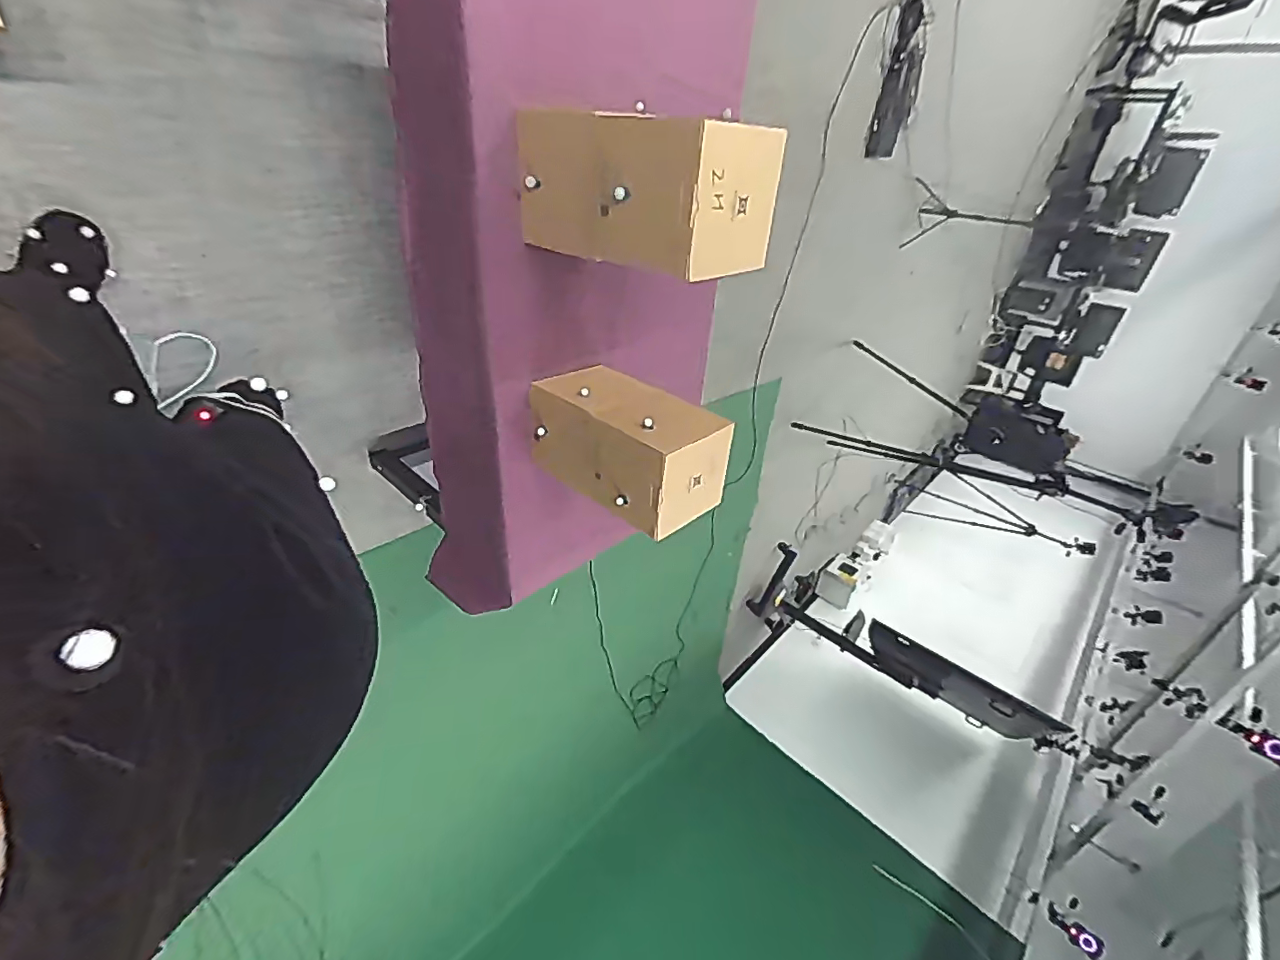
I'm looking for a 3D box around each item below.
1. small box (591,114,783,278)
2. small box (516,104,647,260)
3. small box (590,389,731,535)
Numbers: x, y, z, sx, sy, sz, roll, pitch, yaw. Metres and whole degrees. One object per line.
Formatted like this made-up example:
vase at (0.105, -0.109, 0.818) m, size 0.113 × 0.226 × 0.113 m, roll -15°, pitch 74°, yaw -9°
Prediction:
small box at (0.057, -0.376, 0.712) m, size 0.179 × 0.176 × 0.168 m, roll -27°, pitch 134°, yaw -39°
small box at (-0.066, -0.443, 0.800) m, size 0.168 × 0.176 × 0.179 m, roll -29°, pitch 136°, yaw -39°
small box at (0.029, -0.039, 0.928) m, size 0.179 × 0.176 × 0.168 m, roll -27°, pitch 134°, yaw -40°
